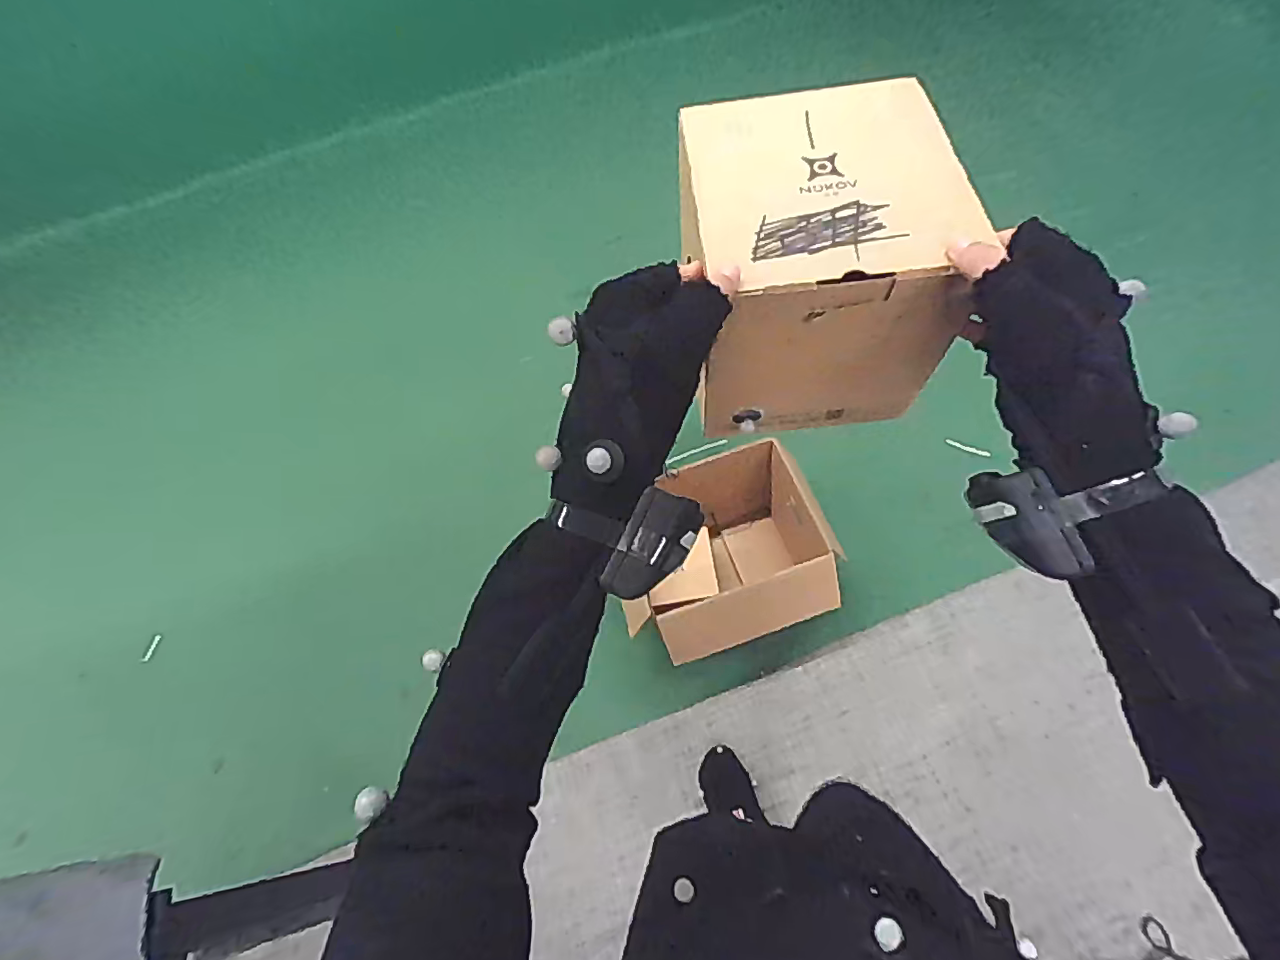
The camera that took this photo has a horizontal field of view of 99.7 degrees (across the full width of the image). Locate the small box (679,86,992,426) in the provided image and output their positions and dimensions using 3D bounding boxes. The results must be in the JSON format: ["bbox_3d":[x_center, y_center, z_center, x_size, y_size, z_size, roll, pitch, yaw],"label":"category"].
[{"bbox_3d":[0.120,-0.152,0.413,0.168,0.176,0.179,-5,64,3],"label":"small box"}]
